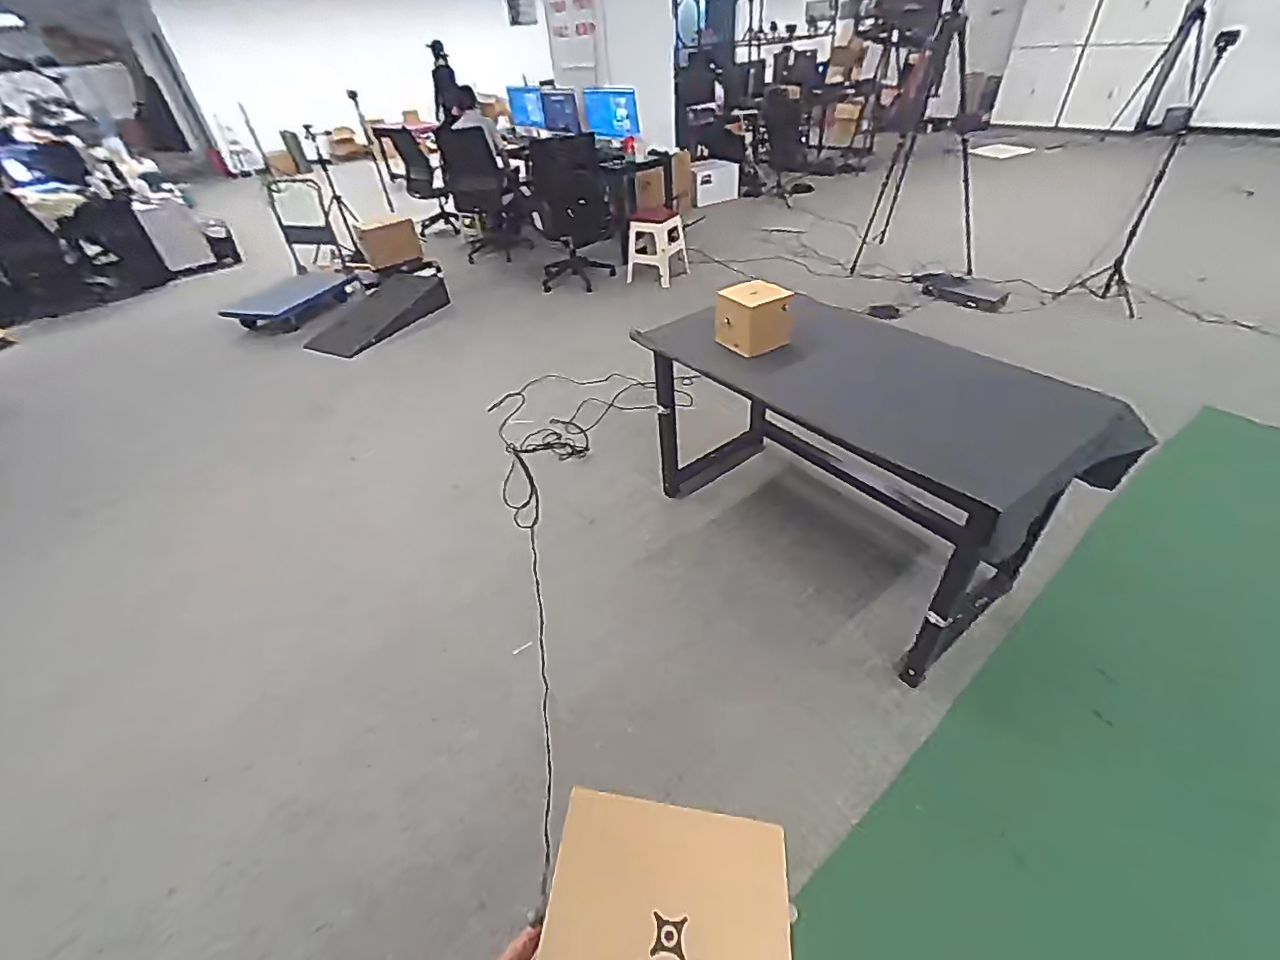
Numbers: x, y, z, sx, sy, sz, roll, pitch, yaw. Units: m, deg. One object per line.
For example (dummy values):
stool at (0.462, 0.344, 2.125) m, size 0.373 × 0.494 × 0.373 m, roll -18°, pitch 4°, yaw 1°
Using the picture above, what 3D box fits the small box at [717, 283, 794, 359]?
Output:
small box at (0.360, -0.499, 1.703) m, size 0.179 × 0.176 × 0.168 m, roll -24°, pitch 43°, yaw -23°

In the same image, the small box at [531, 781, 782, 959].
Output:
small box at (0.005, 0.365, 0.410) m, size 0.168 × 0.176 × 0.179 m, roll 9°, pitch 42°, yaw 3°
